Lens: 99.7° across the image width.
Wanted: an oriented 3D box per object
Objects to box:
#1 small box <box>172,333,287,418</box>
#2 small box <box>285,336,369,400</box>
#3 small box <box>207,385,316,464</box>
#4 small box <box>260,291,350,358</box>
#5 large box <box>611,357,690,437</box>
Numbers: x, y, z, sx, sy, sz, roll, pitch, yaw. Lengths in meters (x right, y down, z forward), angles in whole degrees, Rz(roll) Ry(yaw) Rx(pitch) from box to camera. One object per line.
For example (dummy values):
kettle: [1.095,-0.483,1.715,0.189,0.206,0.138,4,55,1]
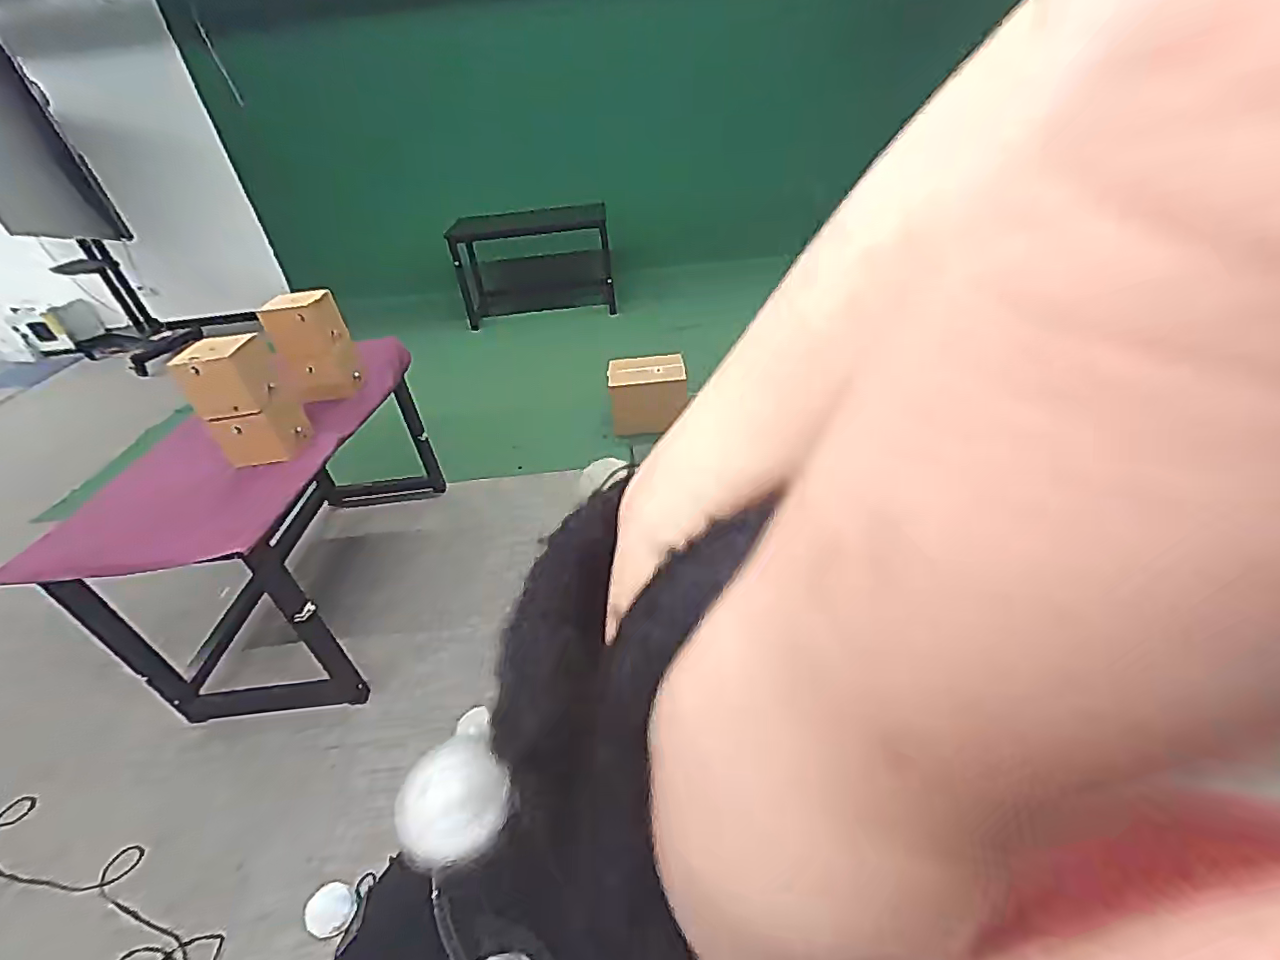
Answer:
small box: [-1.132,-0.291,1.512,0.168,0.176,0.179,-9,36,0]
small box: [-1.106,-0.395,1.928,0.179,0.176,0.168,-6,37,1]
small box: [-1.116,-0.161,1.610,0.179,0.176,0.168,-8,37,0]
small box: [-1.127,-0.525,1.833,0.179,0.176,0.168,-6,37,1]
large box: [0.055,-0.450,2.933,0.408,0.320,0.320,-5,37,2]
